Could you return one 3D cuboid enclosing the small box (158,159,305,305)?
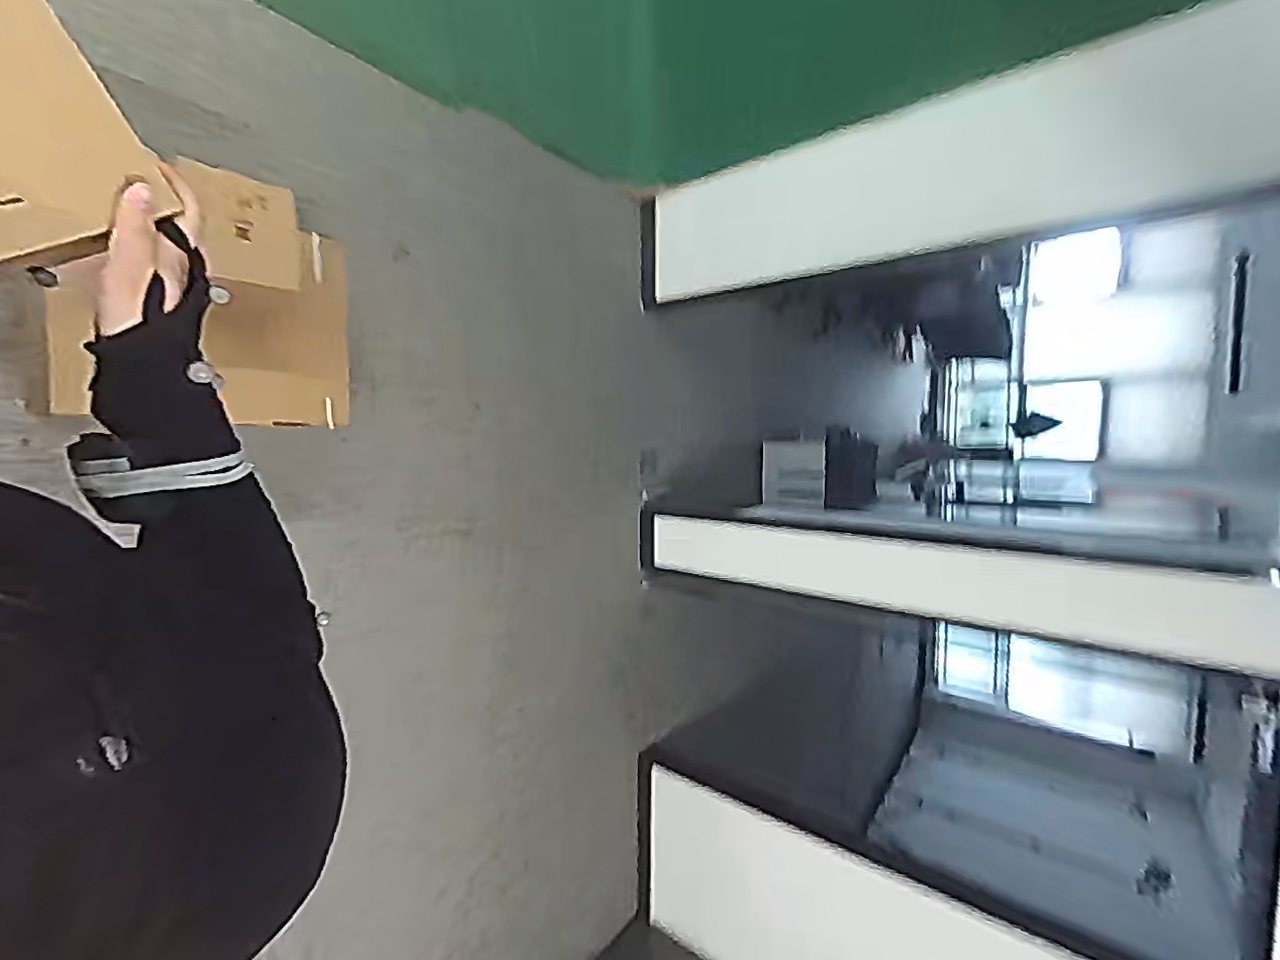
[{"bbox_3d":[-0.713,-0.415,0.946,0.168,0.176,0.179,-6,97,-54],"label":"small box"}]
